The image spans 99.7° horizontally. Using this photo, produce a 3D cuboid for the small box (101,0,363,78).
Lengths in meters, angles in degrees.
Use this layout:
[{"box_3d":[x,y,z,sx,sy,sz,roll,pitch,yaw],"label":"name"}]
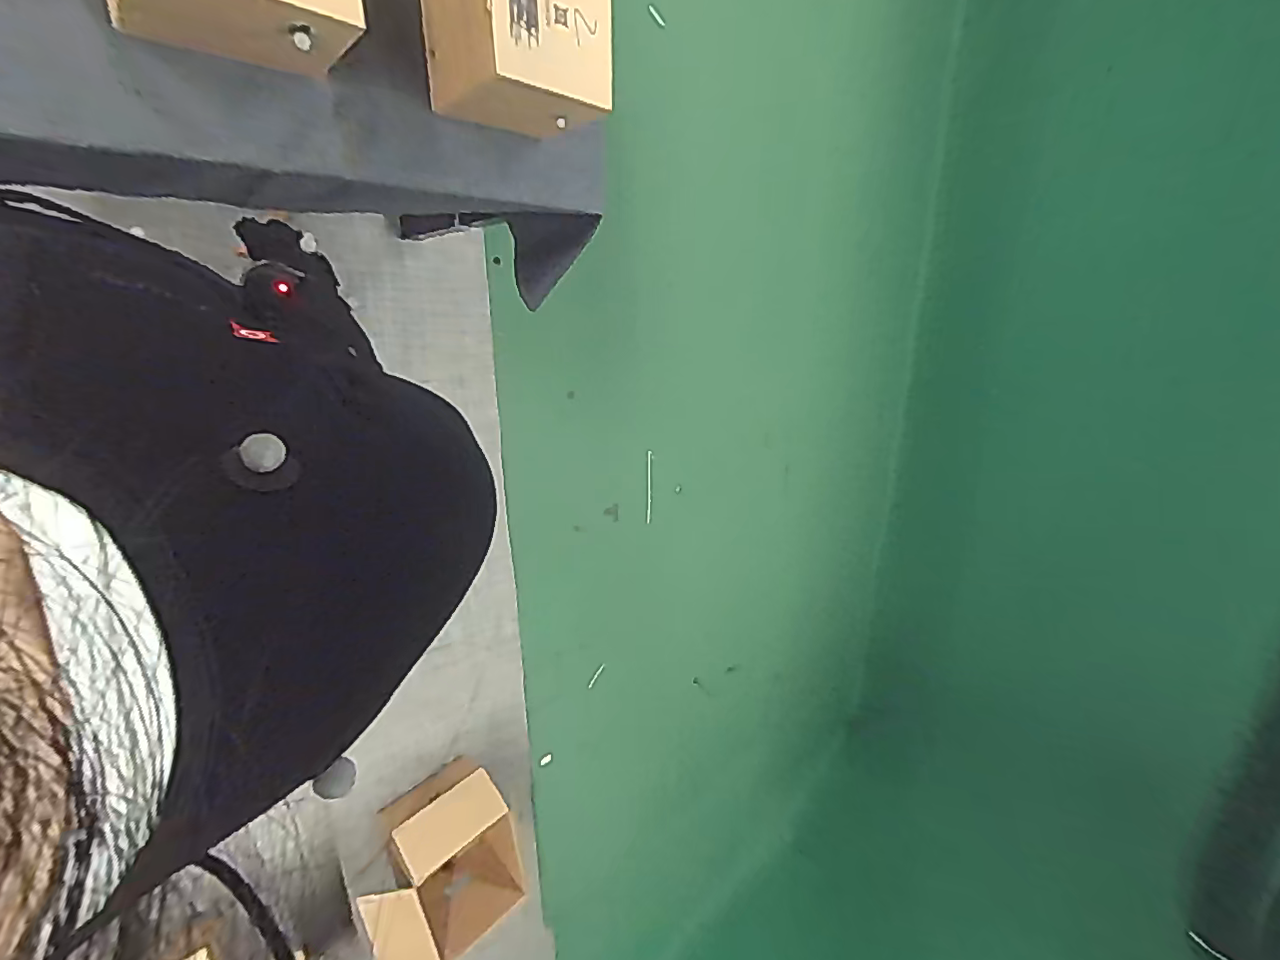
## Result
[{"box_3d":[-0.379,-0.497,0.487,0.179,0.176,0.168,-16,112,-41],"label":"small box"}]
